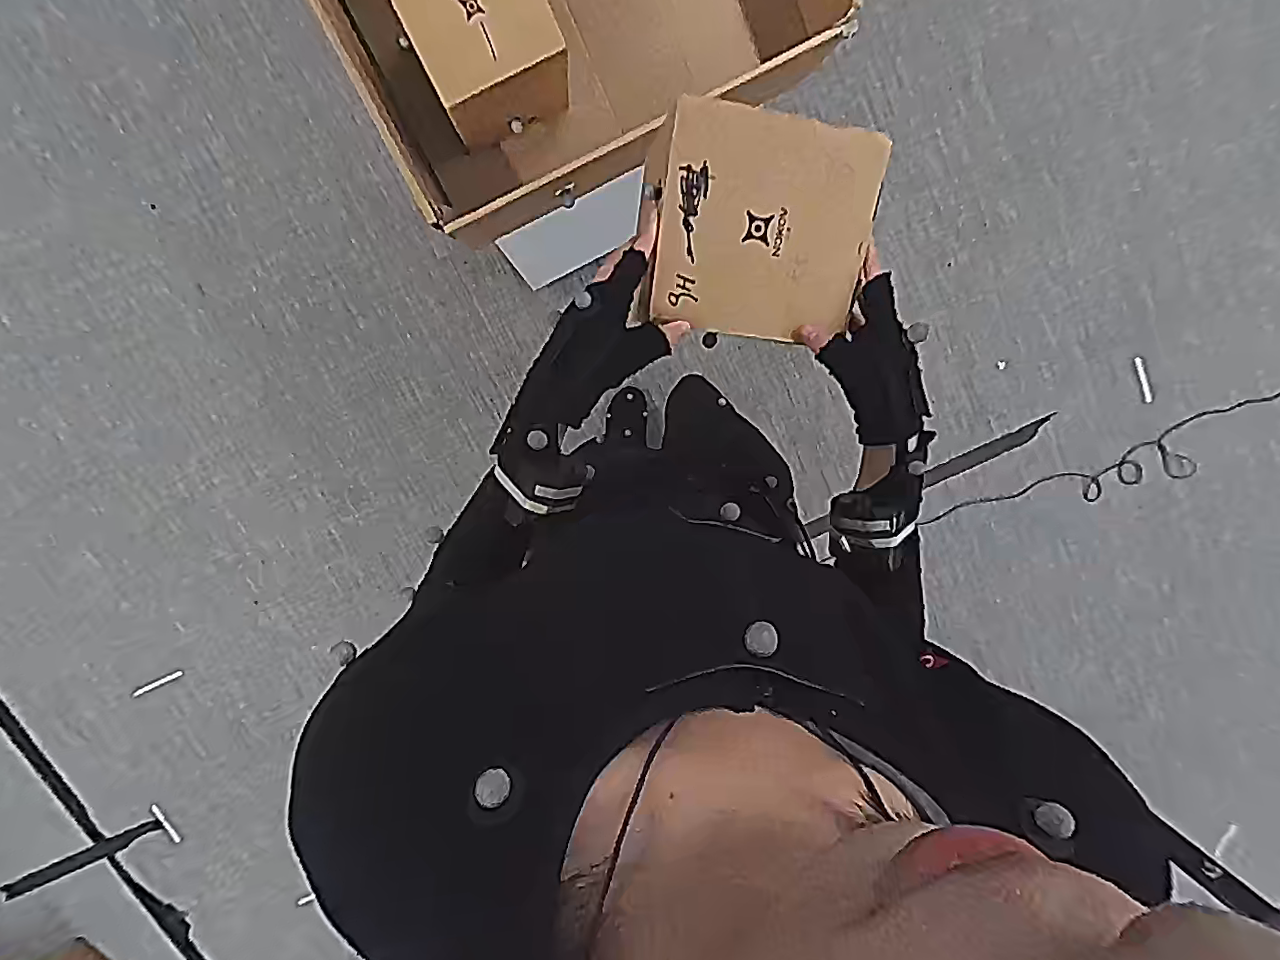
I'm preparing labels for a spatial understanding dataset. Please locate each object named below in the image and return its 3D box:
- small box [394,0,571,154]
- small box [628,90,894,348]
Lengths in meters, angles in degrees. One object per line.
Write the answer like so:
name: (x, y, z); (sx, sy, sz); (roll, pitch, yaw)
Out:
small box: (-0.201, -0.566, 0.697); (0.168, 0.176, 0.179); (-26, 106, 1)
small box: (0.093, -0.224, 0.506); (0.179, 0.176, 0.168); (5, 106, -10)
